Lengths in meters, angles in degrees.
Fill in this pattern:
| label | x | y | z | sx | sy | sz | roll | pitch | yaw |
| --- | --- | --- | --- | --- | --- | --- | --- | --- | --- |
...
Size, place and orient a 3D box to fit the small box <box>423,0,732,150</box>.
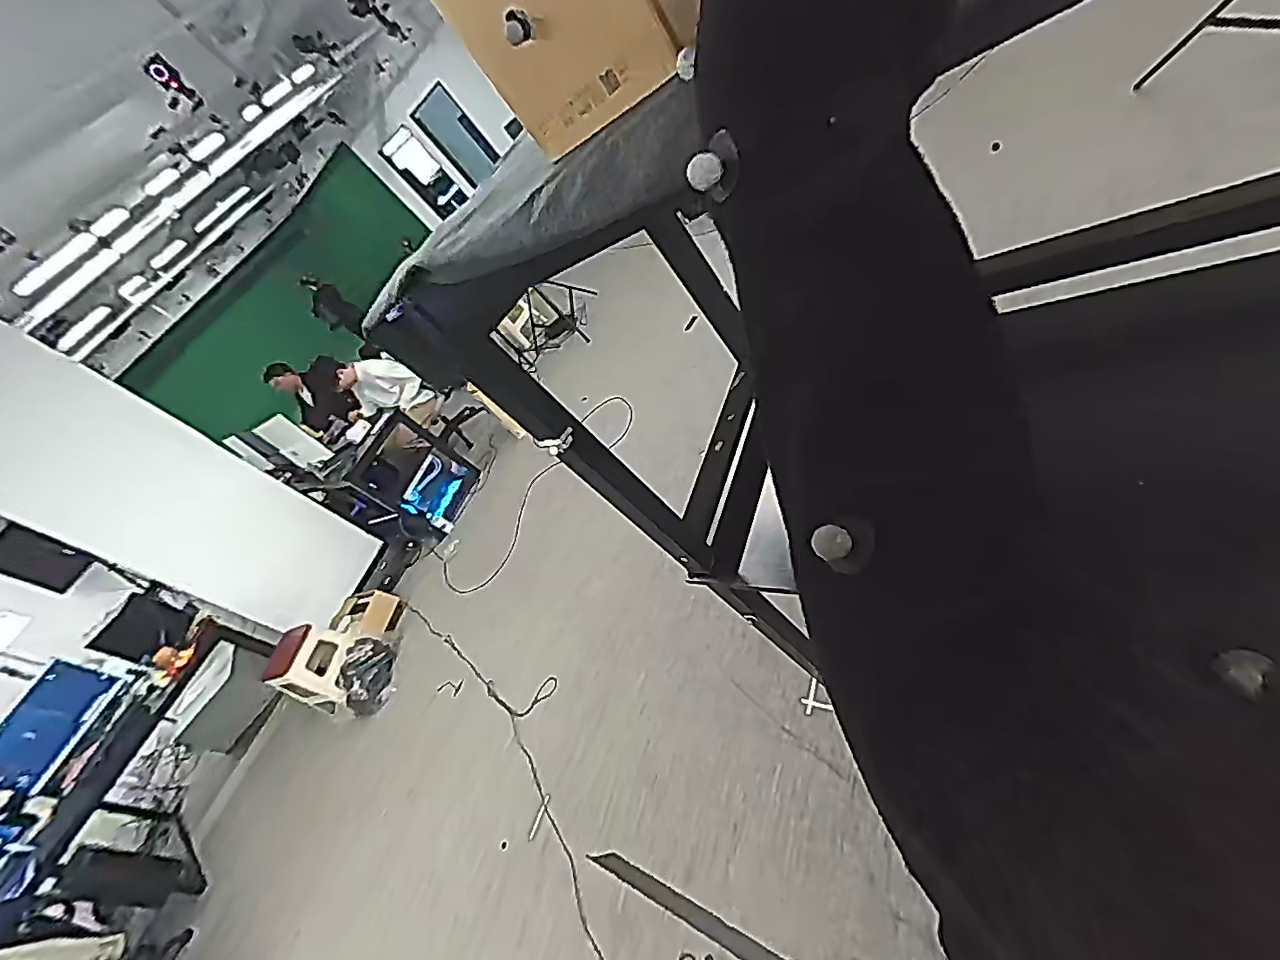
| label | x | y | z | sx | sy | sz | roll | pitch | yaw |
| --- | --- | --- | --- | --- | --- | --- | --- | --- | --- |
| small box | -0.041 | -0.412 | 0.443 | 0.168 | 0.176 | 0.179 | -2 | 53 | 45 |
